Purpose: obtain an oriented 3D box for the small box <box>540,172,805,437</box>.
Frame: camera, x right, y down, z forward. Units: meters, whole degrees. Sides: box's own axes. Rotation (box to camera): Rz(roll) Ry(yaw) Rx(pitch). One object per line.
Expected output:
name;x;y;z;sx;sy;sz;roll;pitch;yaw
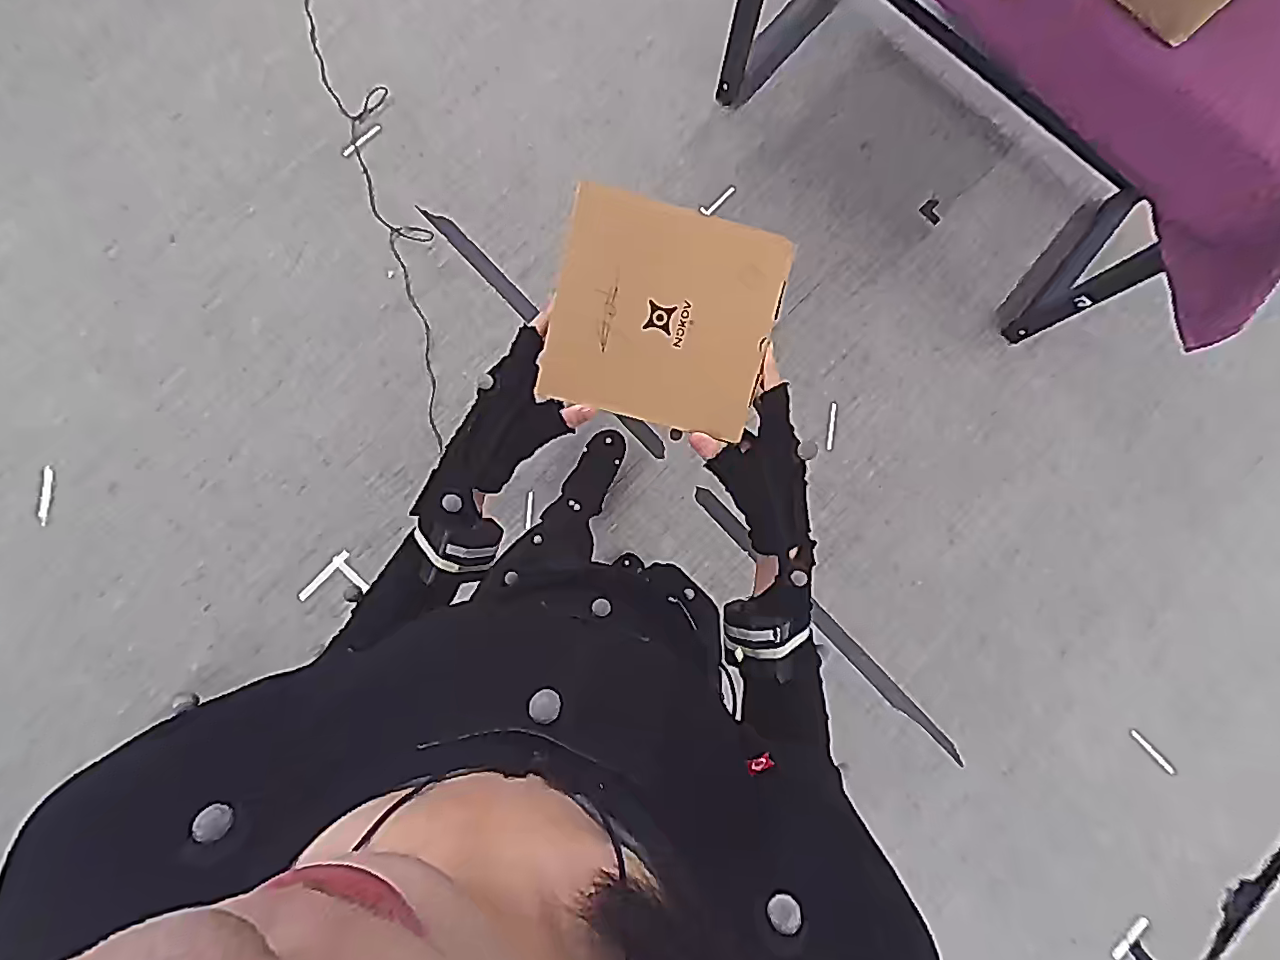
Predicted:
small box;0.020;-0.145;0.495;0.179;0.176;0.168;13;99;-5
